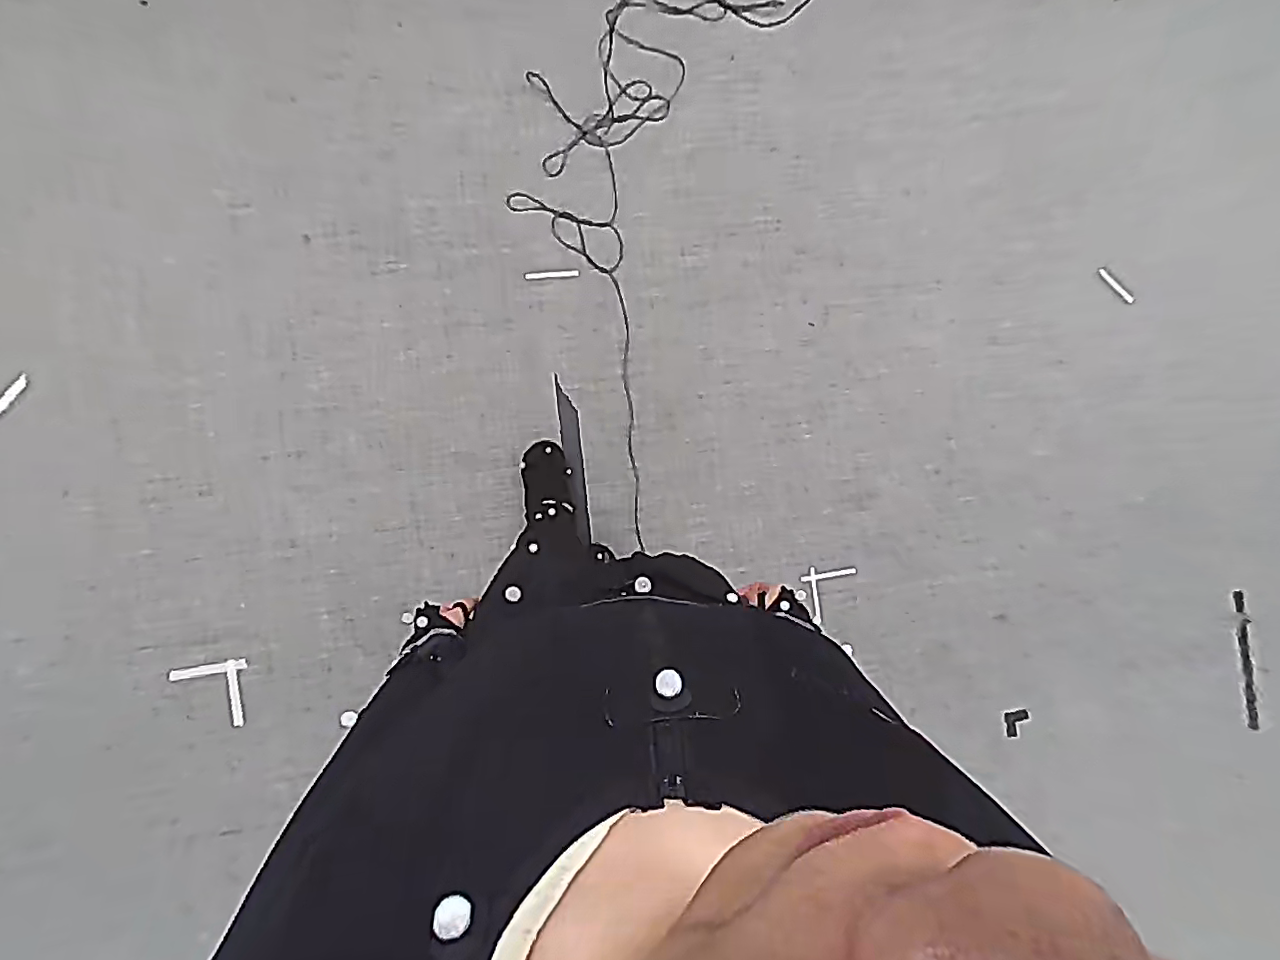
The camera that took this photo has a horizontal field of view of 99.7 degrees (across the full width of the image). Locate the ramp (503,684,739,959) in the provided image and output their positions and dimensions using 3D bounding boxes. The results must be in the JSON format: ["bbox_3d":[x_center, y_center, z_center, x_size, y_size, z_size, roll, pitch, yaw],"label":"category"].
[{"bbox_3d":[-0.030,1.028,1.242,0.509,0.206,0.991,-9,86,-4],"label":"ramp"}]
